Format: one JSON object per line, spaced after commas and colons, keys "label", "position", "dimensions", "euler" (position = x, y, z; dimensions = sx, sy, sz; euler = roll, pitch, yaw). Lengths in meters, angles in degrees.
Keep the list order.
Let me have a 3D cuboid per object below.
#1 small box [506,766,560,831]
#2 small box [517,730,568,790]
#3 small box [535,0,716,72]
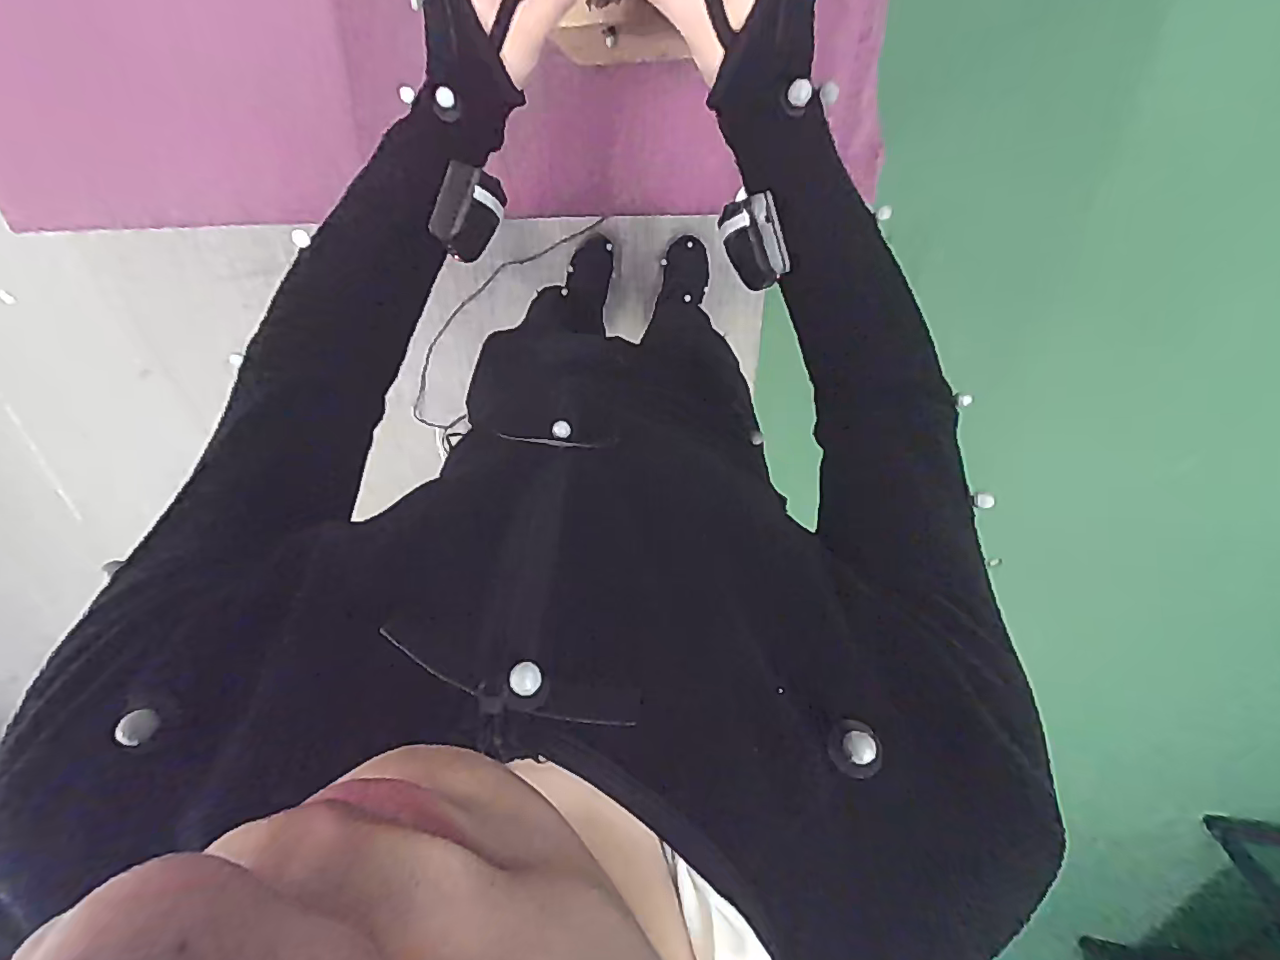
{"label": "small box", "position": [-0.432, 1.293, 2.200], "dimensions": [0.168, 0.176, 0.179], "euler": [-1, 119, 6]}
{"label": "small box", "position": [-0.416, 1.215, 2.343], "dimensions": [0.168, 0.176, 0.179], "euler": [-4, 118, 8]}
{"label": "small box", "position": [-0.008, -0.527, 0.526], "dimensions": [0.168, 0.176, 0.179], "euler": [1, 117, 7]}
